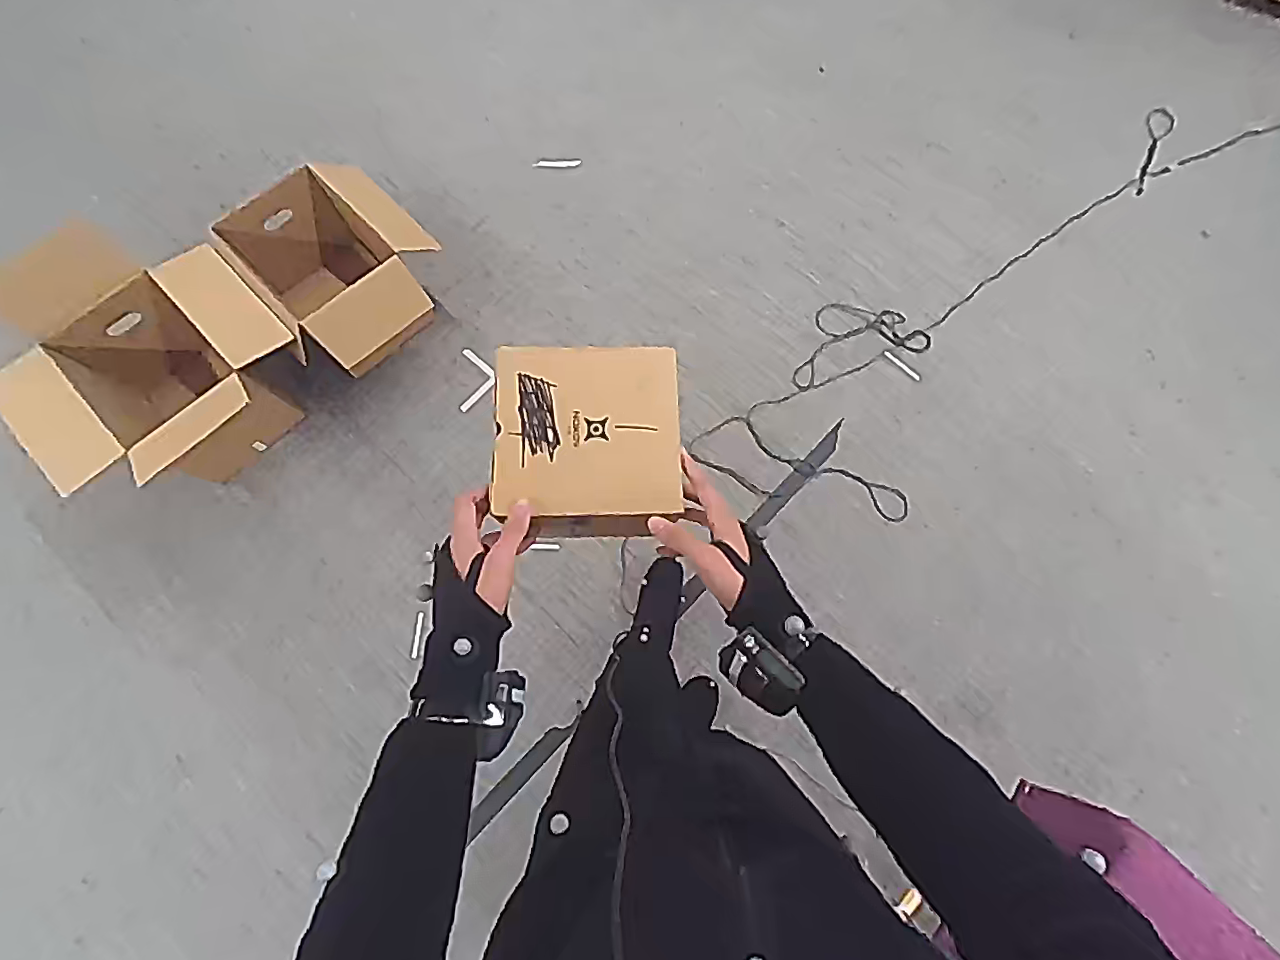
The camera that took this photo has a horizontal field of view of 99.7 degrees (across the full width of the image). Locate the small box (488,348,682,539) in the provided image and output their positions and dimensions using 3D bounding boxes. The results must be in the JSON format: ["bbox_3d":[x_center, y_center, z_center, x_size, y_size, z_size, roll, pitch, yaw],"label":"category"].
[{"bbox_3d":[-0.053,-0.028,0.578,0.179,0.176,0.168,-1,77,-3],"label":"small box"}]
